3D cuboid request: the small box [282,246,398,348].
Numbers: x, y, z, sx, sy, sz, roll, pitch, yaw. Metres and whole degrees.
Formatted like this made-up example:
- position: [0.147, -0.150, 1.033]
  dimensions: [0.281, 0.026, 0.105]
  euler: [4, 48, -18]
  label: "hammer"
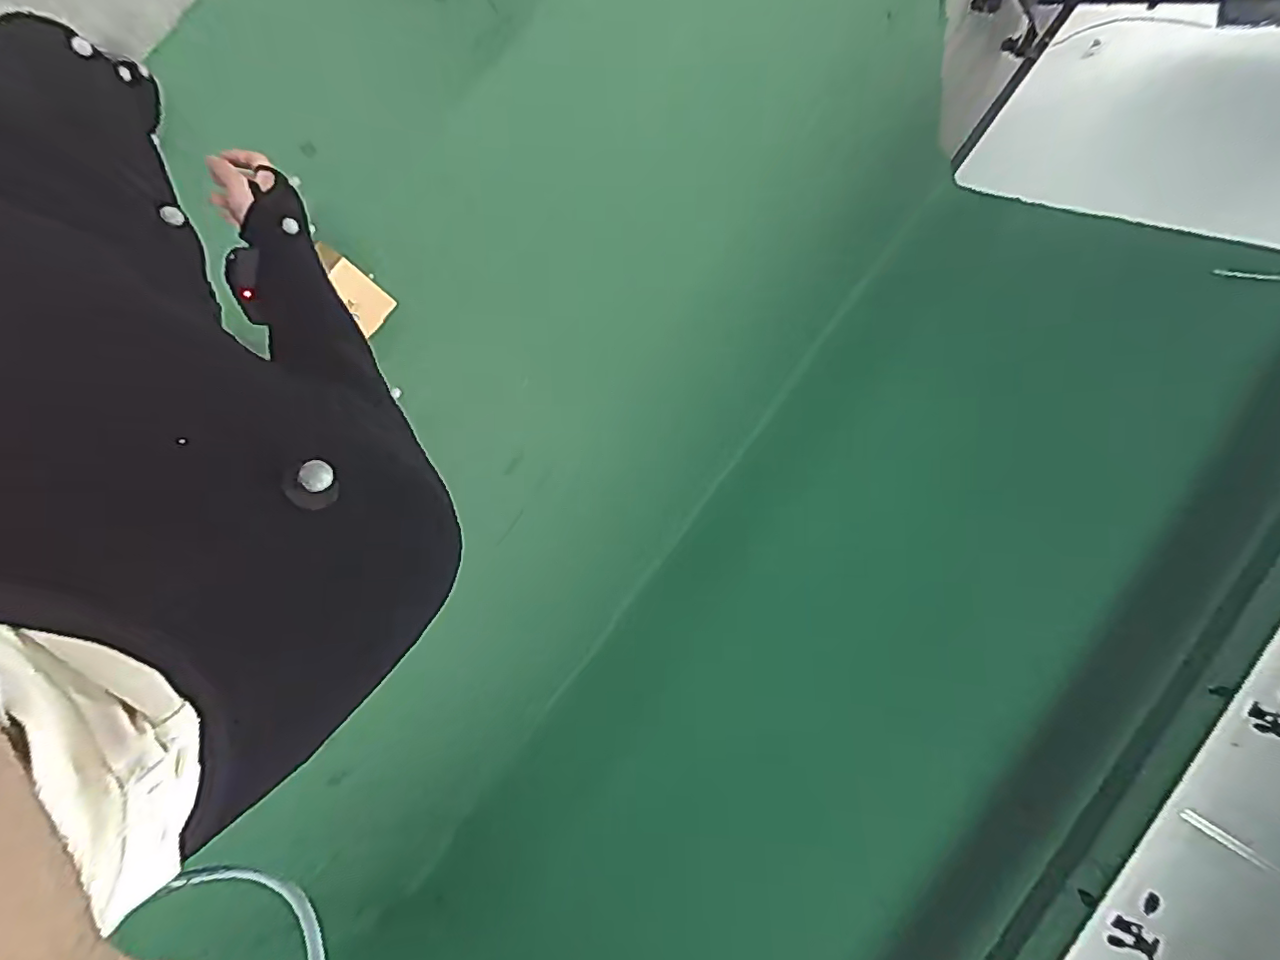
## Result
- position: [-0.782, -0.481, 1.405]
  dimensions: [0.168, 0.176, 0.179]
  euler: [-53, 148, -4]
  label: "small box"
